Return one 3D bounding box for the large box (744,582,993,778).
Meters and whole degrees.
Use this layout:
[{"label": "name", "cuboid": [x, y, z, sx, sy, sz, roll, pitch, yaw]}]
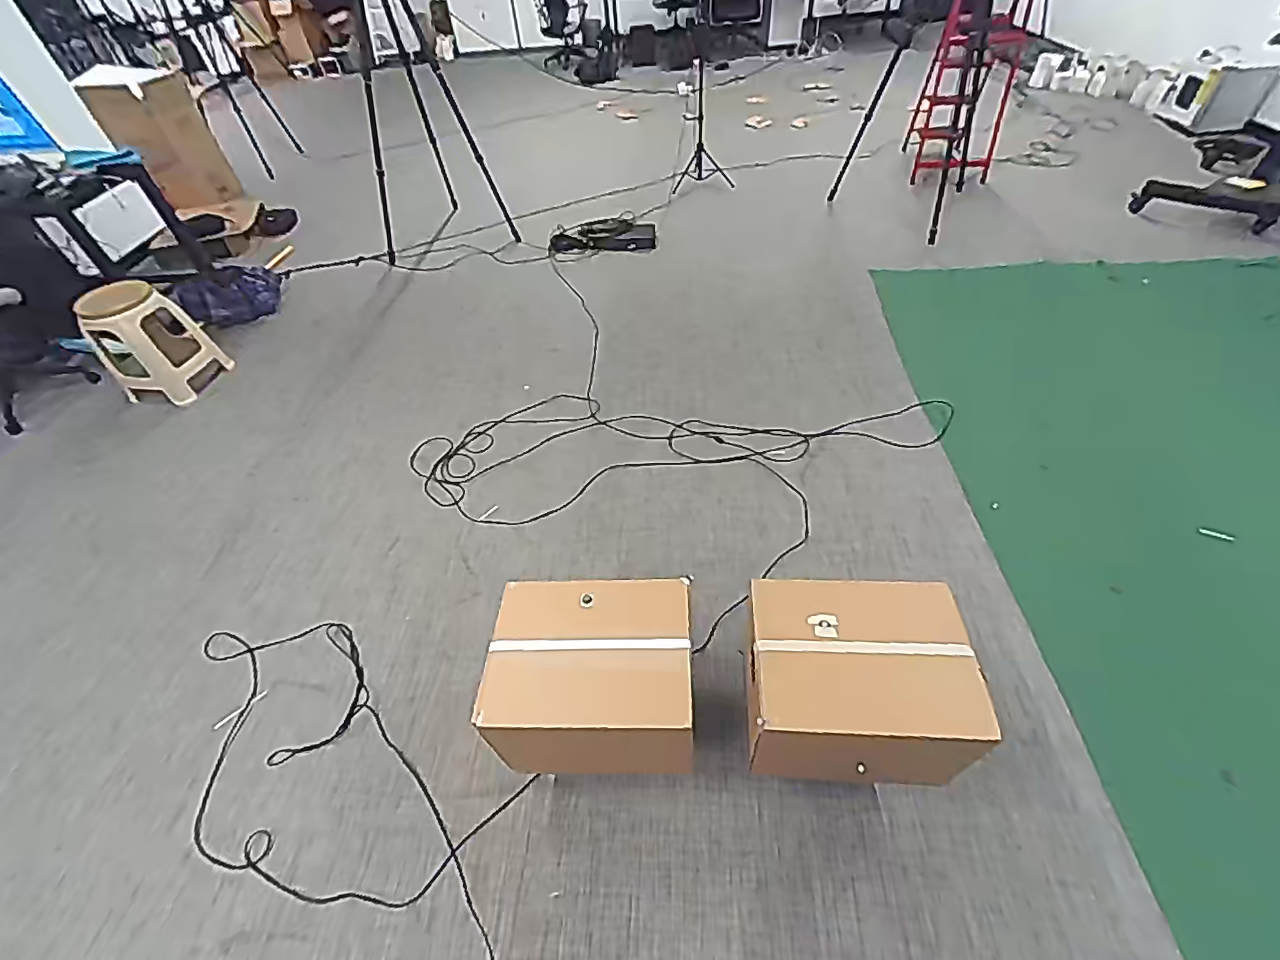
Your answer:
[{"label": "large box", "cuboid": [0.443, 0.432, 1.166, 0.408, 0.320, 0.320, 0, 48, 6]}]
